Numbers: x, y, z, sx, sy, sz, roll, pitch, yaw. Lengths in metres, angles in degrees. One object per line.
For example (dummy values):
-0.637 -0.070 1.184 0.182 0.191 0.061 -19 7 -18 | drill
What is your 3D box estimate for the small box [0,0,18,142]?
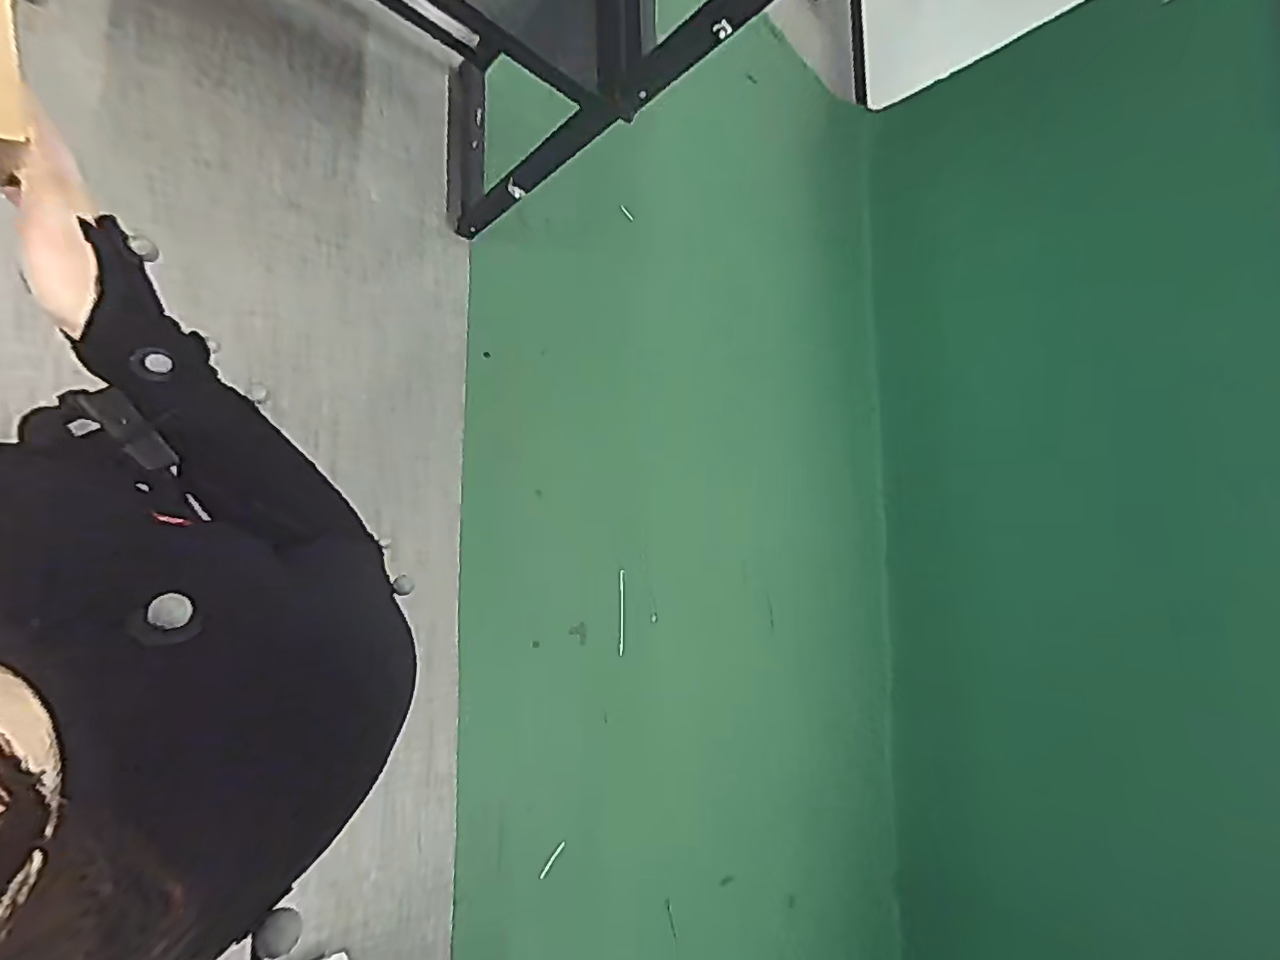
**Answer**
-0.370 -0.245 0.202 0.168 0.176 0.179 -10 110 -51 | small box
